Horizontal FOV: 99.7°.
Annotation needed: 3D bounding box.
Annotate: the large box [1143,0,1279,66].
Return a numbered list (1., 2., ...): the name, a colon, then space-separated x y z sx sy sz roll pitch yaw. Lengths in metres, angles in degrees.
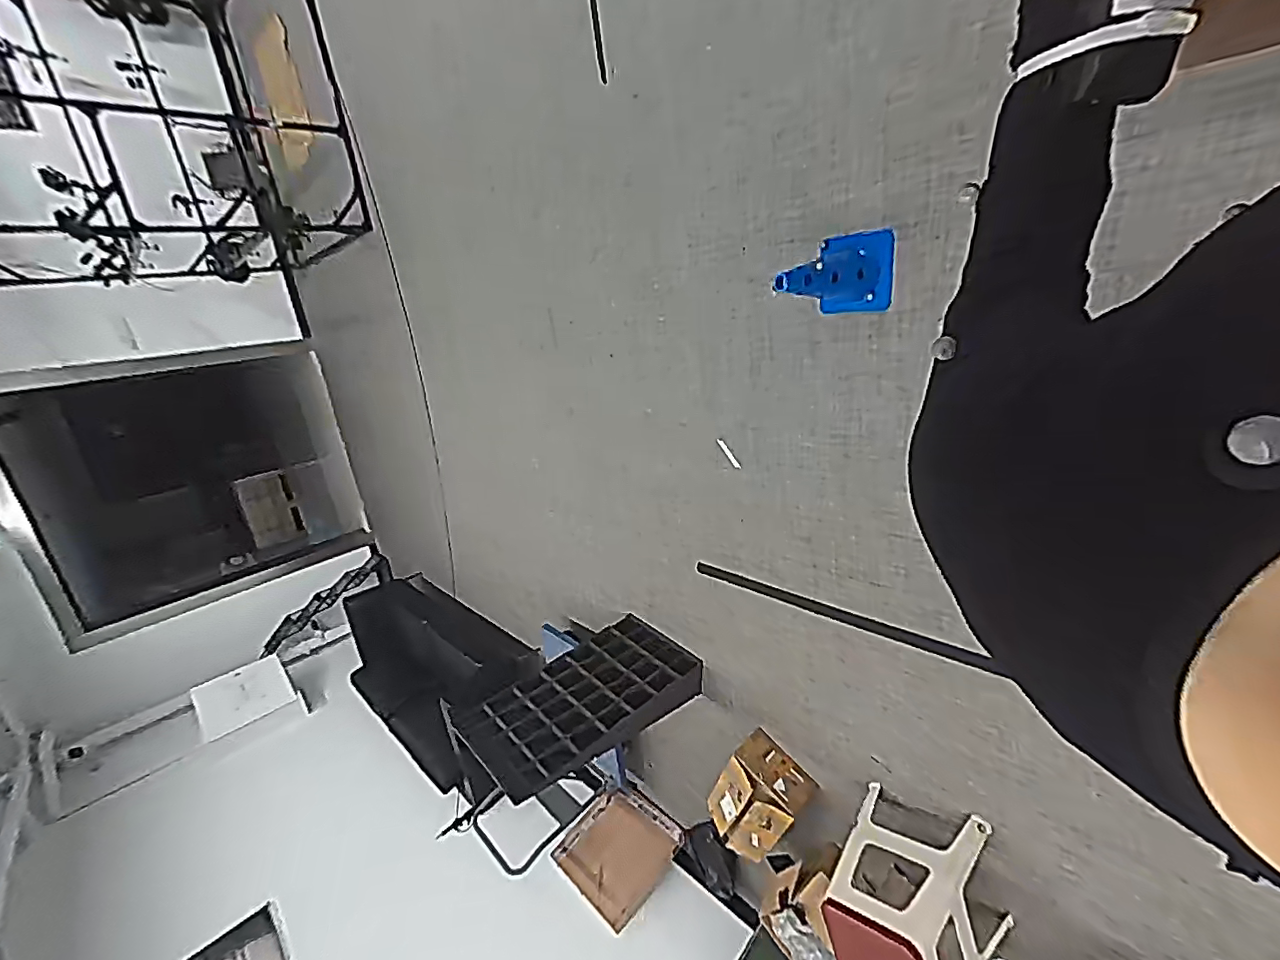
1. large box: 0.533 -0.467 0.250 0.408 0.320 0.320 12 120 44

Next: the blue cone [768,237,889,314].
1. blue cone: 0.453 -0.500 1.356 0.192 0.380 0.193 17 119 45
